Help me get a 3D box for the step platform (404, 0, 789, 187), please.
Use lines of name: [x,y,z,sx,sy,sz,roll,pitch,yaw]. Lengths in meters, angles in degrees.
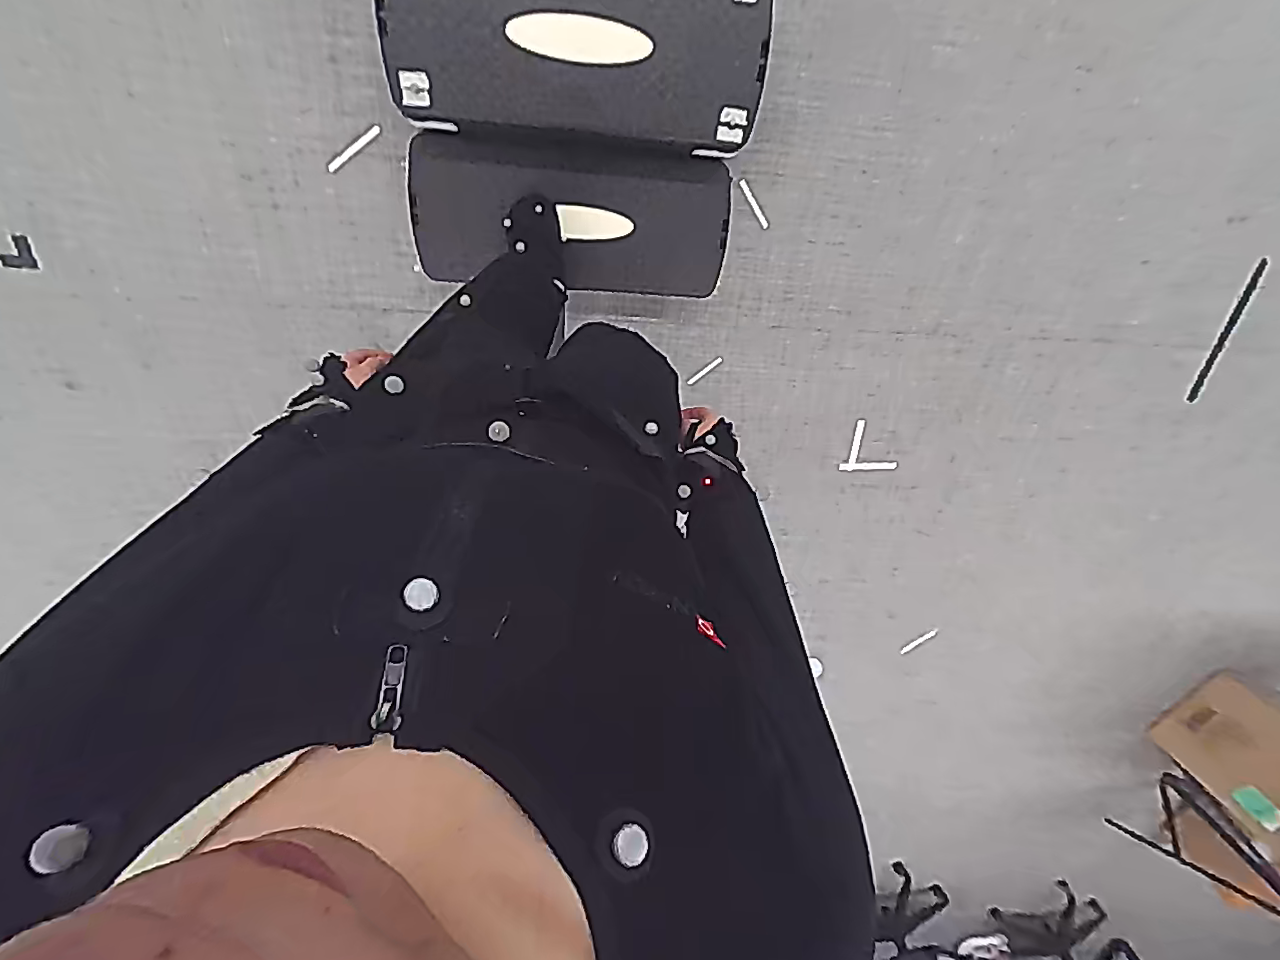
step platform: [-0.076,-0.767,1.023,0.684,0.204,0.286,5,115,-9]
